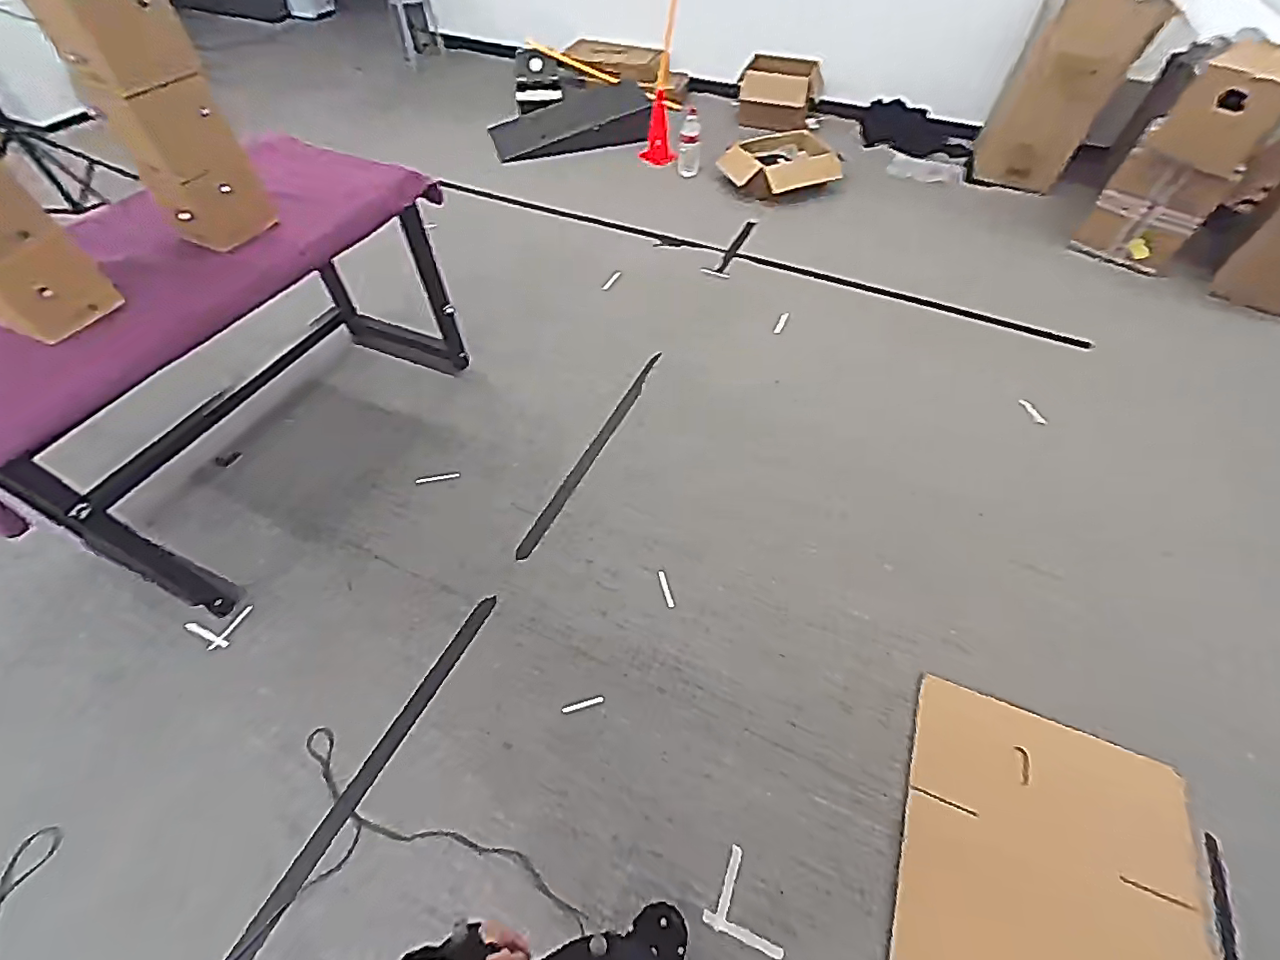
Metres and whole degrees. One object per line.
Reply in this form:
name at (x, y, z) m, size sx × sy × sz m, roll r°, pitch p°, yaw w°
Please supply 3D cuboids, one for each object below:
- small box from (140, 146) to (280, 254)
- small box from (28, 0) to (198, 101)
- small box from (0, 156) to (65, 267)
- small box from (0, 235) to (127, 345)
small box at (-1.047, -0.687, 1.335) m, size 0.168 × 0.176 × 0.179 m, roll 23°, pitch 56°, yaw 15°
small box at (-1.038, -0.890, 1.075) m, size 0.168 × 0.176 × 0.179 m, roll 22°, pitch 57°, yaw 15°
small box at (-1.256, -0.509, 0.997) m, size 0.179 × 0.176 × 0.168 m, roll 18°, pitch 56°, yaw 14°
small box at (-1.250, -0.407, 1.126) m, size 0.179 × 0.176 × 0.168 m, roll 19°, pitch 56°, yaw 15°
